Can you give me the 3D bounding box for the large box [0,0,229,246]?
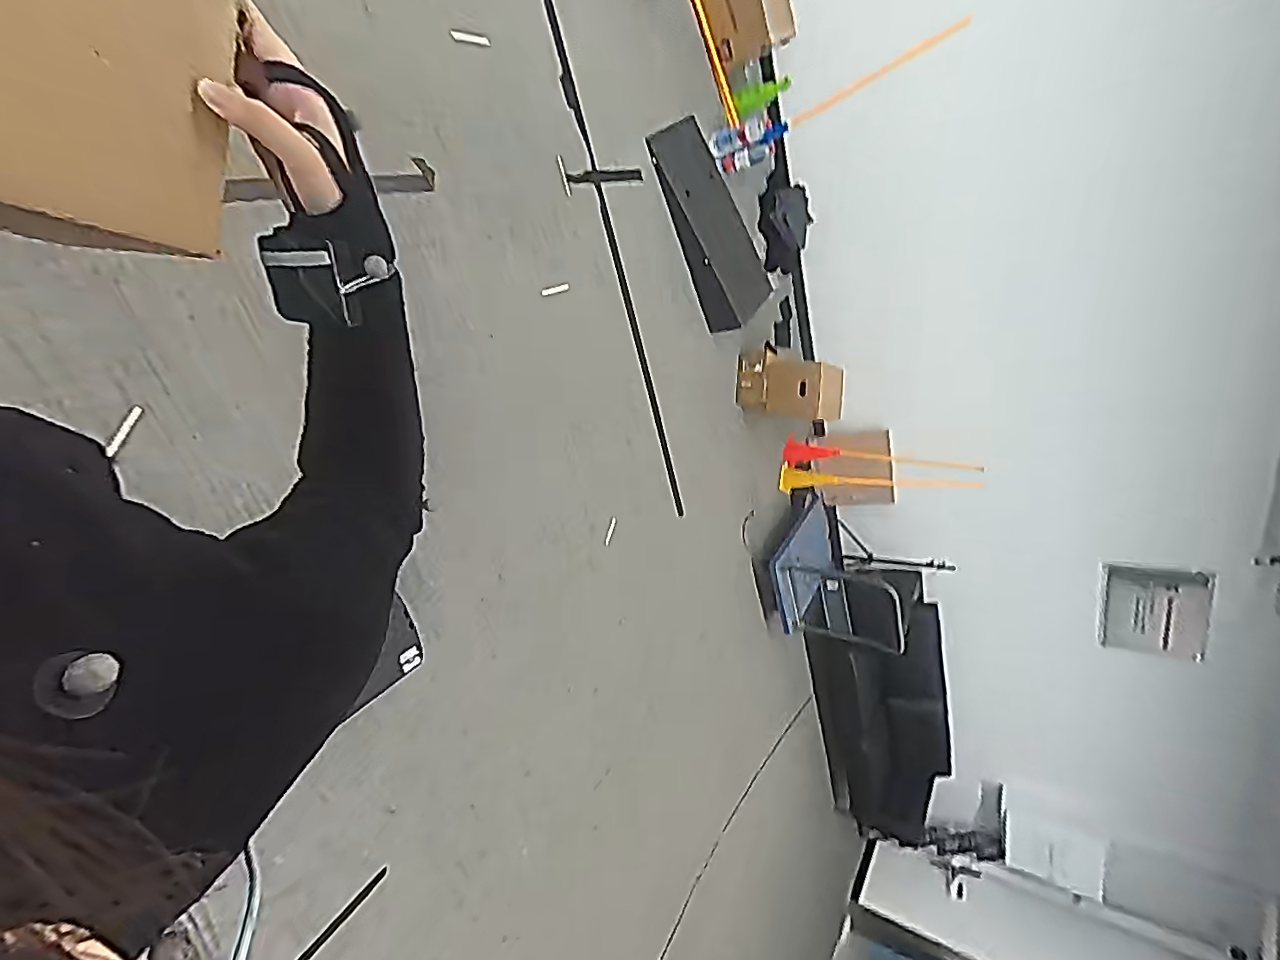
[{"bbox_3d":[-0.453,-0.313,0.209,0.408,0.320,0.320,-5,108,-57],"label":"large box"}]
